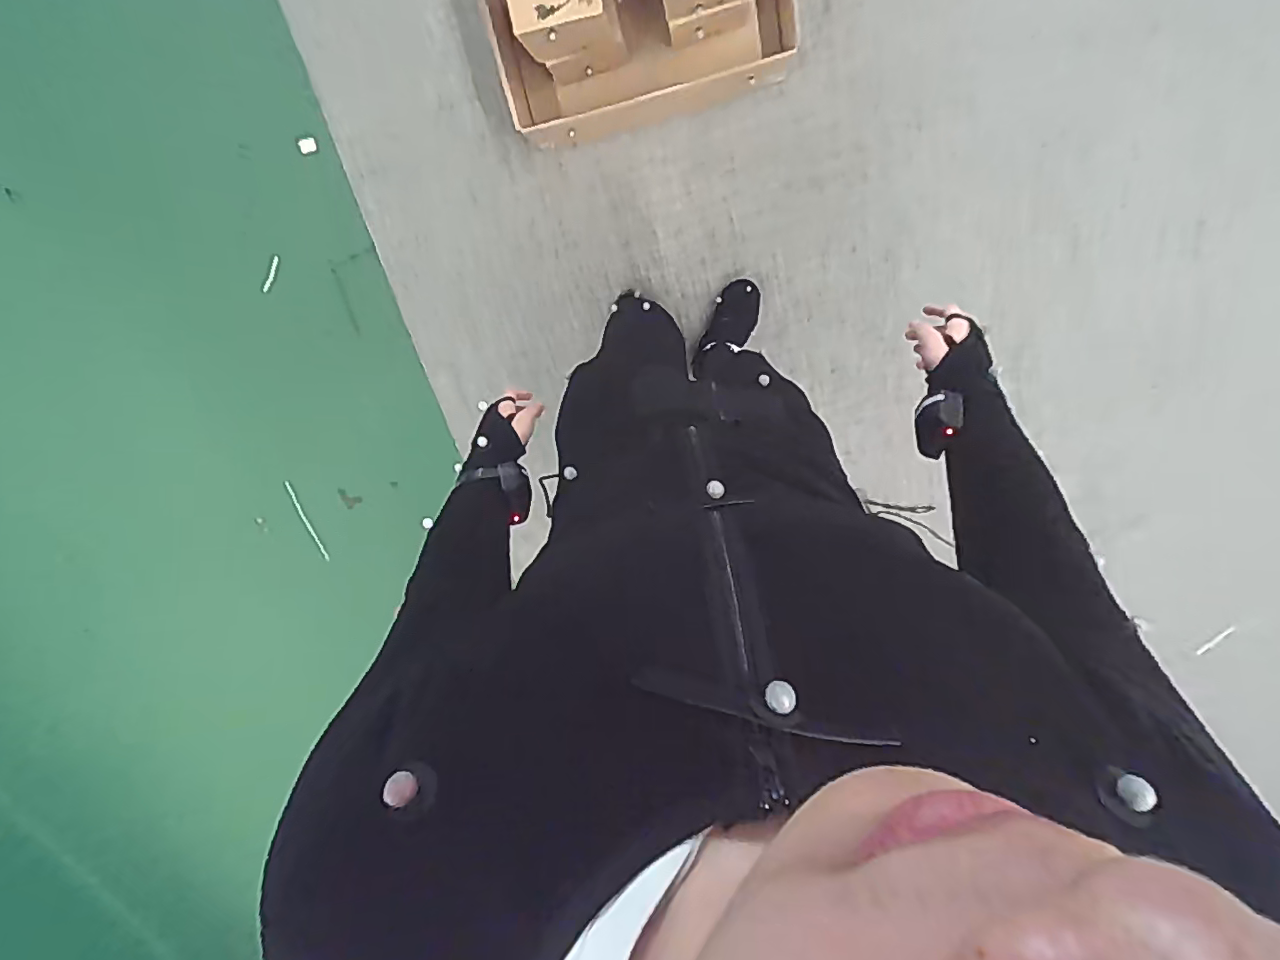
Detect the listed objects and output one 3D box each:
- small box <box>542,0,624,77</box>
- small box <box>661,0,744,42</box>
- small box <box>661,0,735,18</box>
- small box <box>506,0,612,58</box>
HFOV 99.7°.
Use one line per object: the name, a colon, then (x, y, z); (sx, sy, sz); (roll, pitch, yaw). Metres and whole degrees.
small box: (-0.136, -0.983, 1.139); (0.168, 0.176, 0.179); (-12, 113, 9)
small box: (0.119, -1.028, 1.097); (0.168, 0.176, 0.179); (-10, 113, 10)
small box: (0.100, -0.965, 0.947); (0.168, 0.176, 0.179); (-8, 113, 11)
small box: (-0.154, -0.917, 0.989); (0.168, 0.176, 0.179); (-6, 112, 9)
